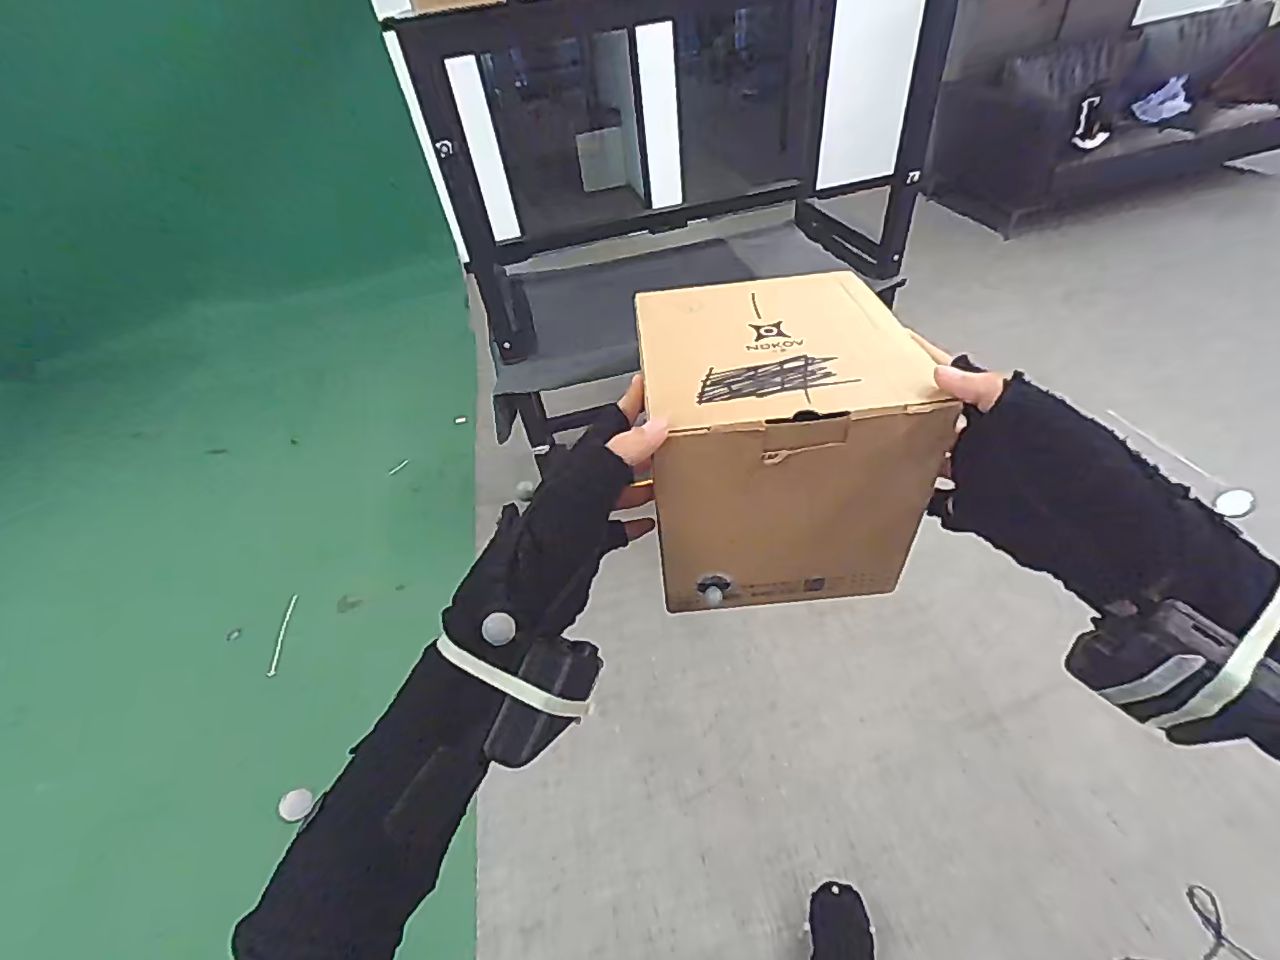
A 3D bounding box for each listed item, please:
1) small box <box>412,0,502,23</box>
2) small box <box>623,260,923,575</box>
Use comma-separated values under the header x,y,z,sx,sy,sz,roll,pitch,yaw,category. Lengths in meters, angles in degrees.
x,y,z,sx,sy,sz,roll,pitch,yaw,category
-0.380,-1.015,1.056,0.168,0.176,0.179,-18,43,-11,small box
0.079,-0.042,0.408,0.168,0.176,0.179,-6,41,2,small box
